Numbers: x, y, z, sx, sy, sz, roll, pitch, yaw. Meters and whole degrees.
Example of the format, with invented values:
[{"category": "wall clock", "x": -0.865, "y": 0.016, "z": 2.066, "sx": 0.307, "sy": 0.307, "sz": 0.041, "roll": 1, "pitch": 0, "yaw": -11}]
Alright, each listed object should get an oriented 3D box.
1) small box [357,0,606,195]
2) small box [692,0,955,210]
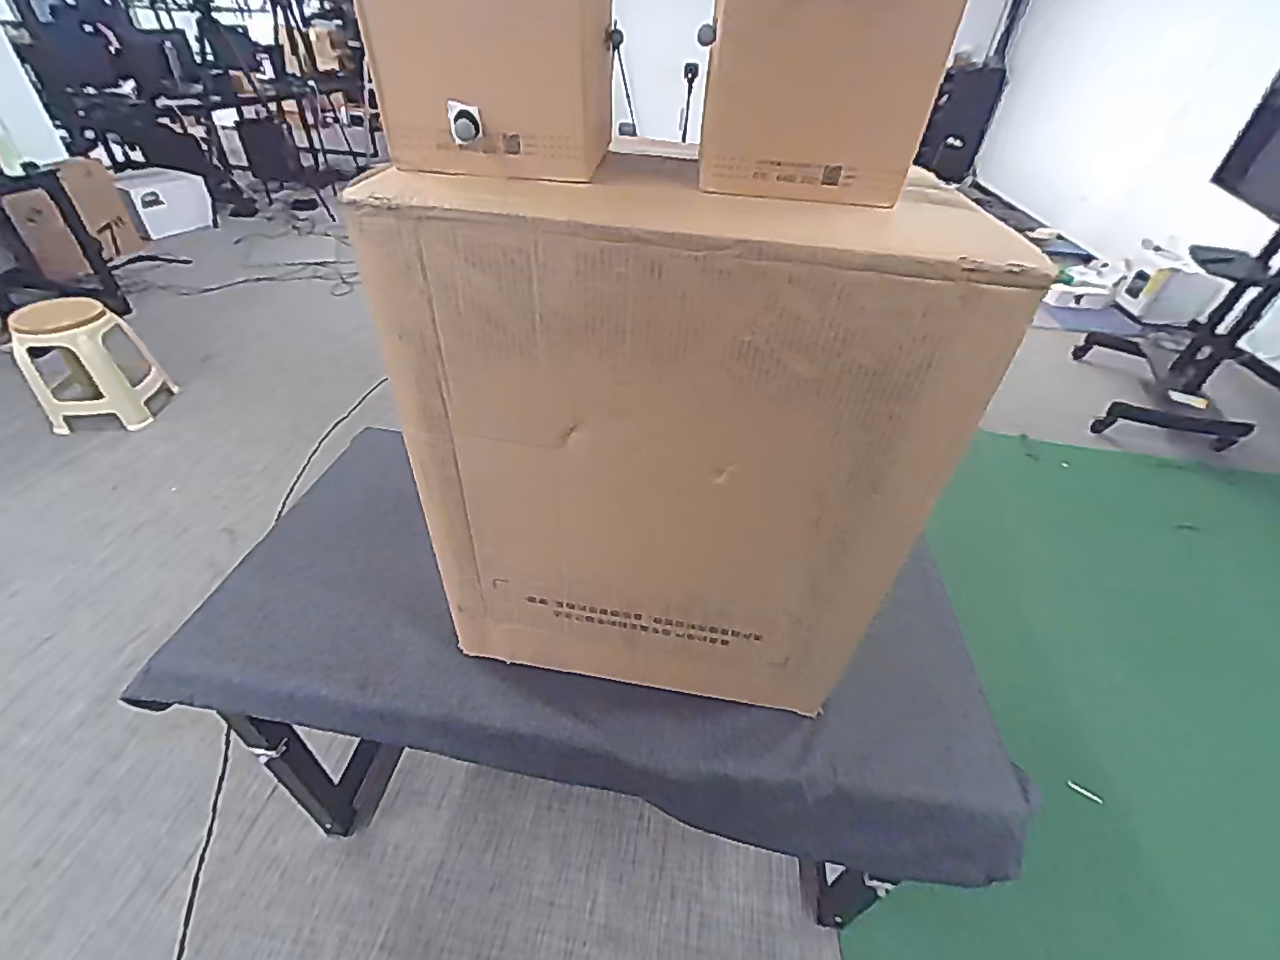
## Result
[{"category": "small box", "x": -0.120, "y": -0.361, "z": 0.462, "sx": 0.168, "sy": 0.176, "sz": 0.179, "roll": 3, "pitch": 43, "yaw": 3}, {"category": "small box", "x": 0.134, "y": -0.348, "z": 0.459, "sx": 0.168, "sy": 0.176, "sz": 0.179, "roll": 4, "pitch": 42, "yaw": 1}]
